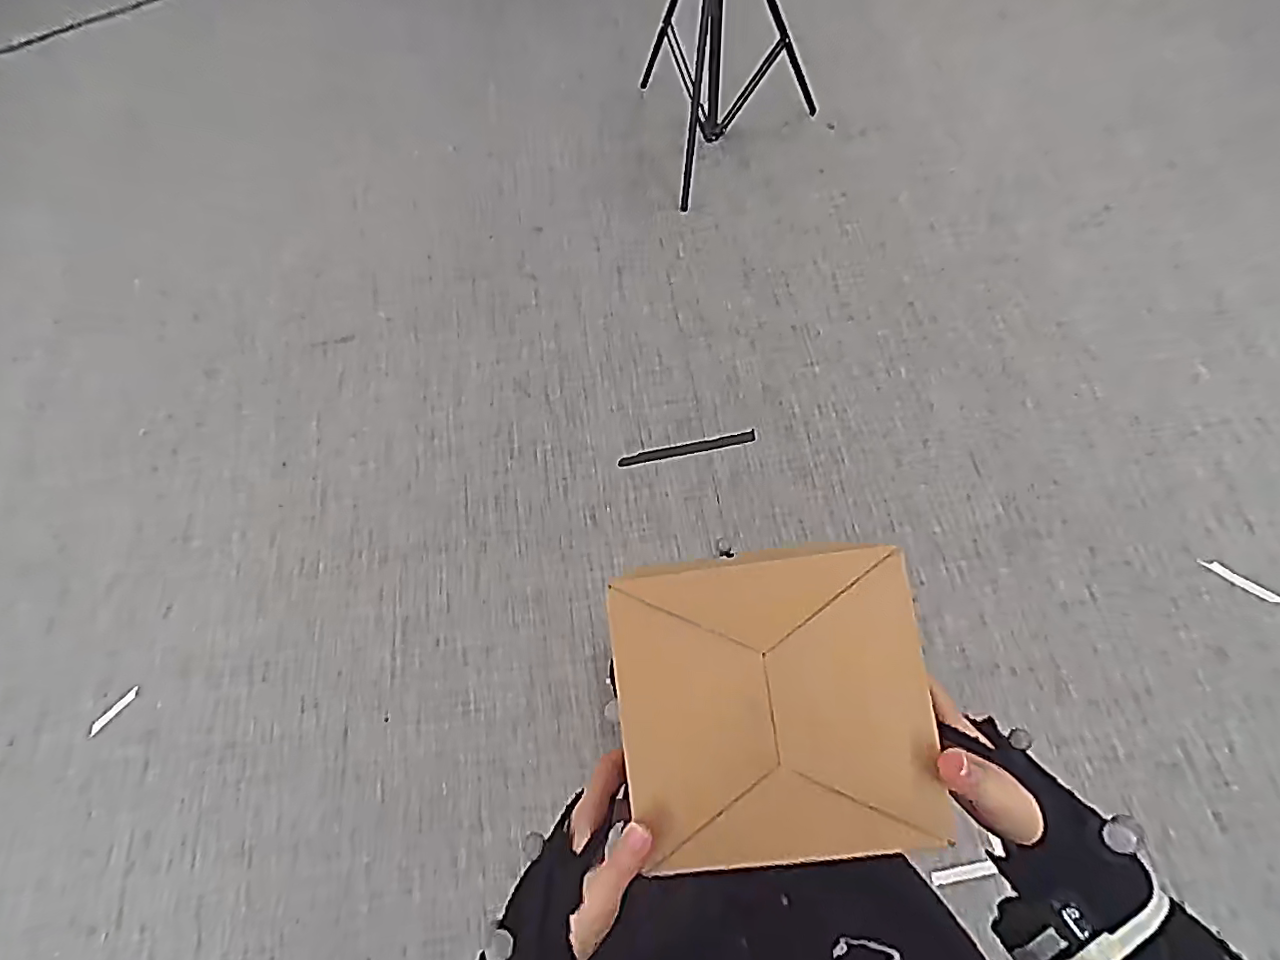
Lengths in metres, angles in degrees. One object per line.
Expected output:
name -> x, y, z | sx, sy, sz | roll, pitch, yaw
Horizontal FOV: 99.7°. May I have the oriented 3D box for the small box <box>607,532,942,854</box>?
small box -> 0.082, 0.131, 0.386 | 0.179, 0.176, 0.168 | -8, 84, 4
